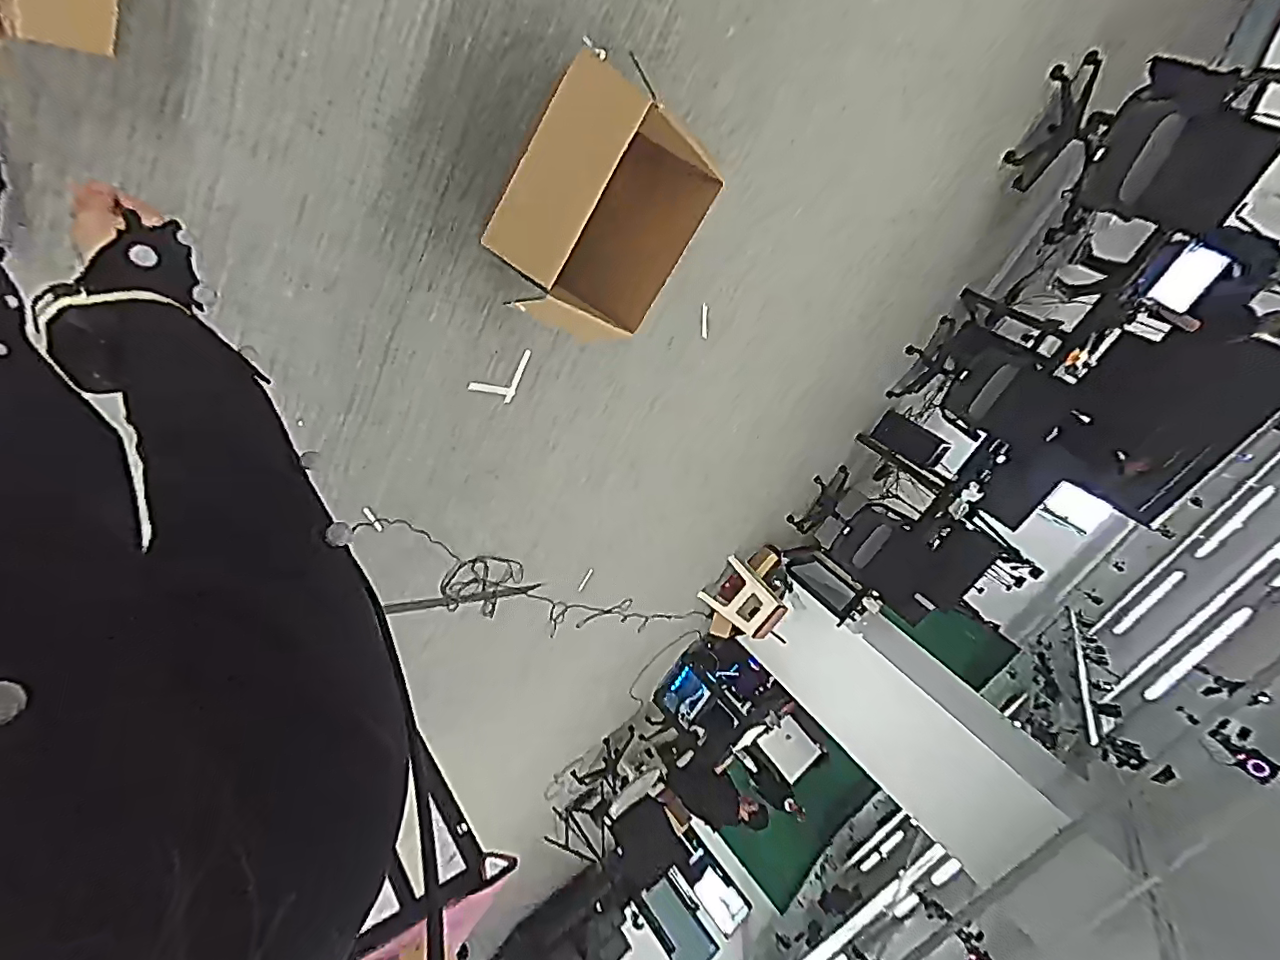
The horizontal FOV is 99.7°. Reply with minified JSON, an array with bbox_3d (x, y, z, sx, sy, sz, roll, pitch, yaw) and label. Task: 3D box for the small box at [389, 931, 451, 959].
[{"bbox_3d":[-0.722,1.599,1.726,0.168,0.176,0.179,13,115,-56],"label":"small box"}]
